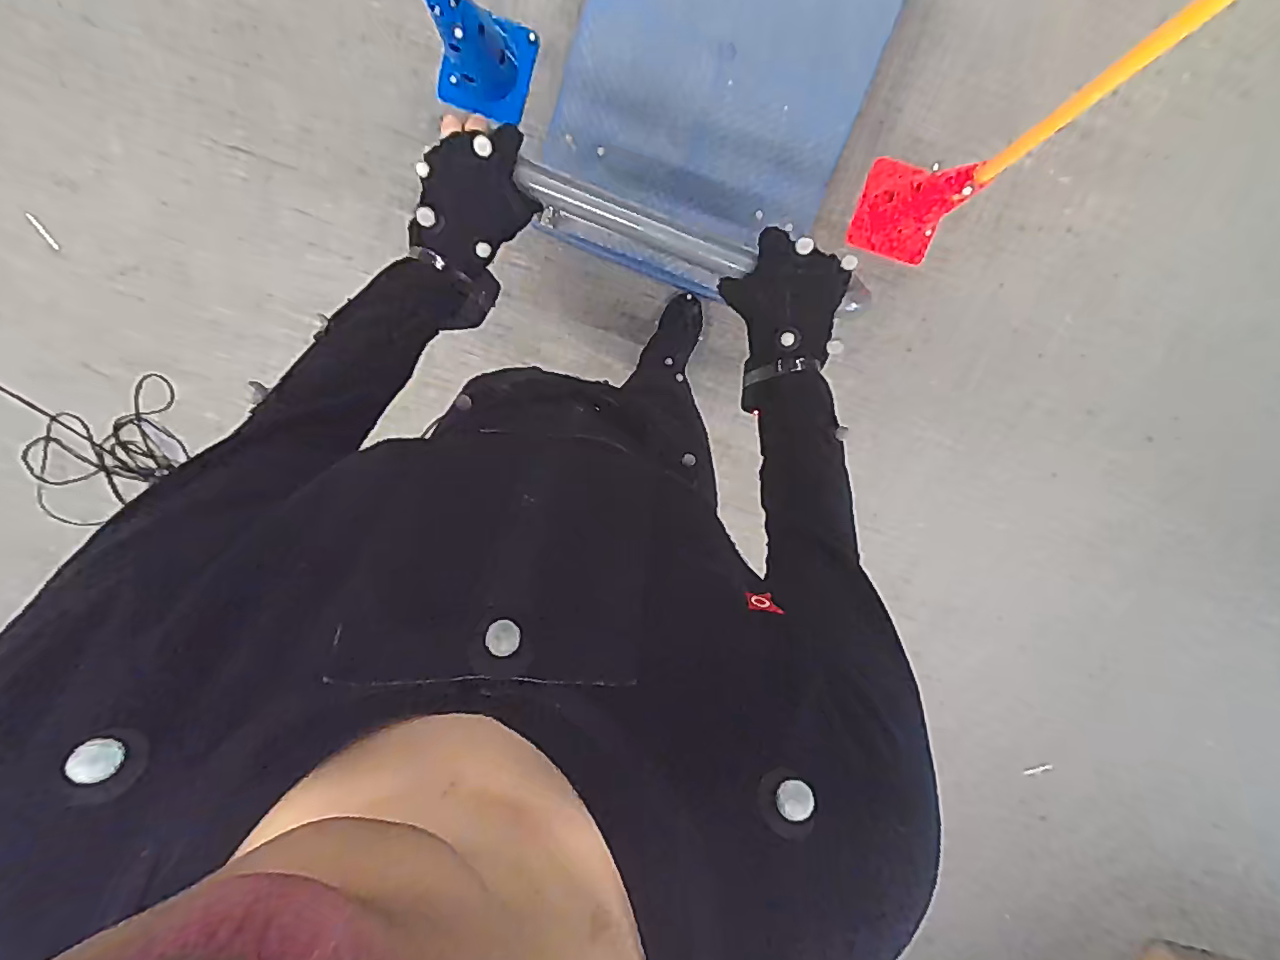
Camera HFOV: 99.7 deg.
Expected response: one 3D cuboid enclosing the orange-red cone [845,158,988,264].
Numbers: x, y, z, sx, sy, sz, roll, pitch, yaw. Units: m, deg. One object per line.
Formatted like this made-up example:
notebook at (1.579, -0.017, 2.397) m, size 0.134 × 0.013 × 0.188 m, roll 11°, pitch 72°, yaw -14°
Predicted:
orange-red cone at (0.607, -0.600, 1.135) m, size 0.199 × 0.360 × 0.198 m, roll 19°, pitch 105°, yaw -3°
